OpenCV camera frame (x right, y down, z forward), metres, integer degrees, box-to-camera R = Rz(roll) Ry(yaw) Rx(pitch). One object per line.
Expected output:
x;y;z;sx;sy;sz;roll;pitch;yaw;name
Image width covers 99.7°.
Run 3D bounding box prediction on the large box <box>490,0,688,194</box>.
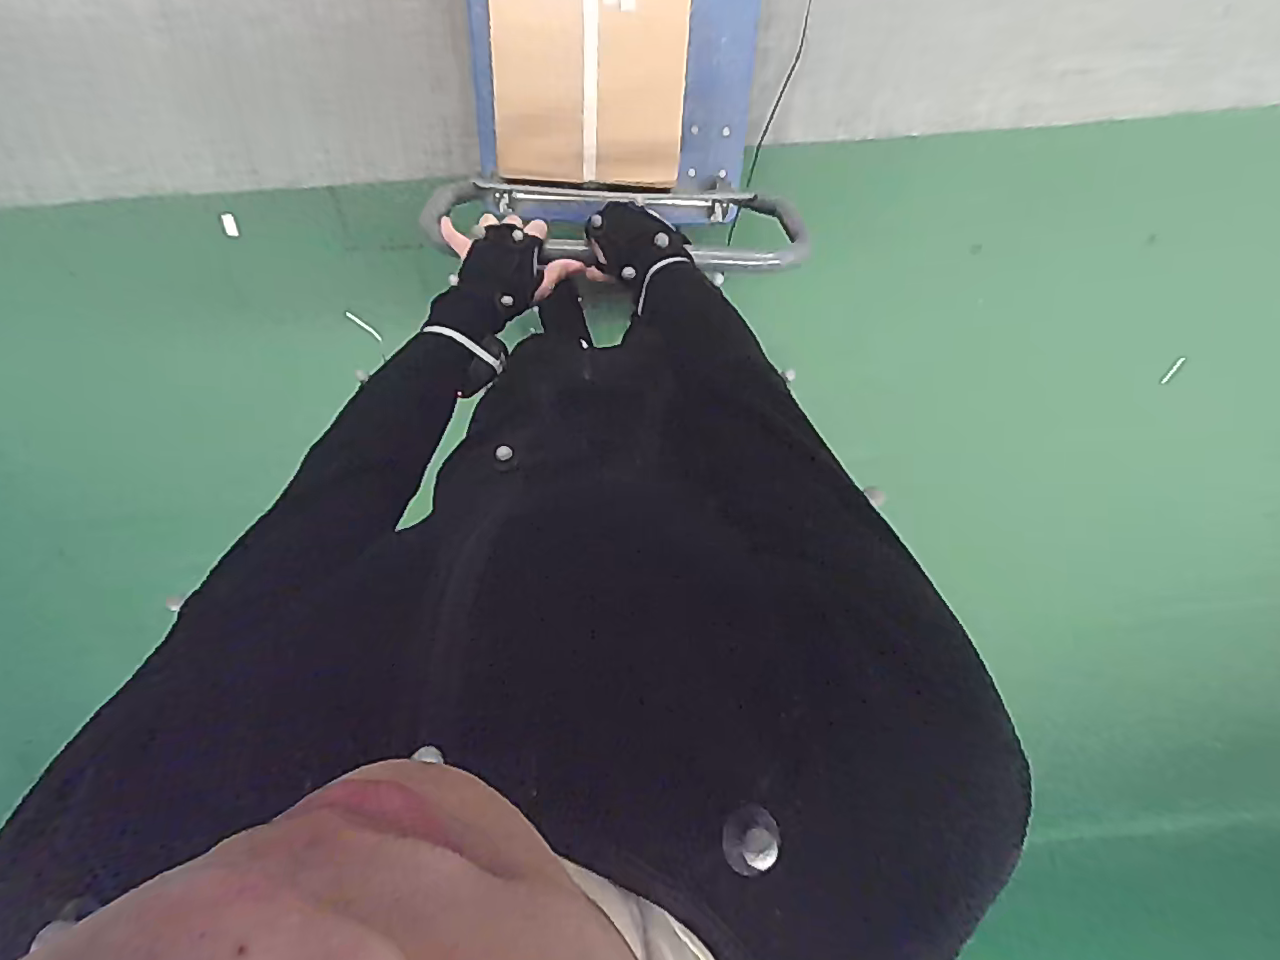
-0.087;-0.763;0.997;0.320;0.320;0.408;1;115;-5;large box
